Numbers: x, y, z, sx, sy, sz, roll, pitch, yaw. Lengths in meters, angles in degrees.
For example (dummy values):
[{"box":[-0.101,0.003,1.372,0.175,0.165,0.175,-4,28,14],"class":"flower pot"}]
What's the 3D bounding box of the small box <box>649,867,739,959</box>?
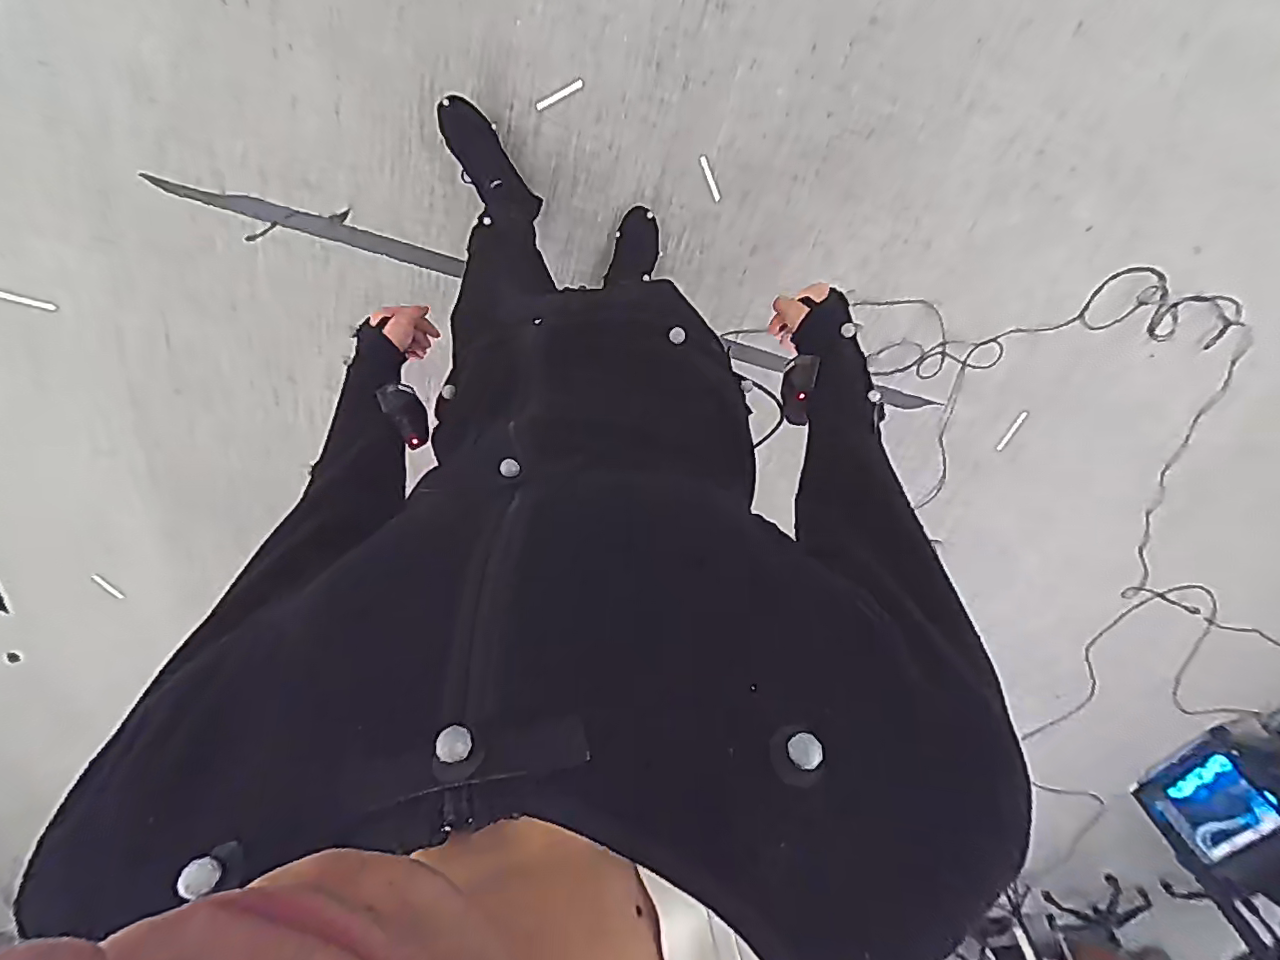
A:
[{"box":[0.126,1.092,1.327,0.168,0.176,0.179,15,121,-9],"class":"small box"}]
